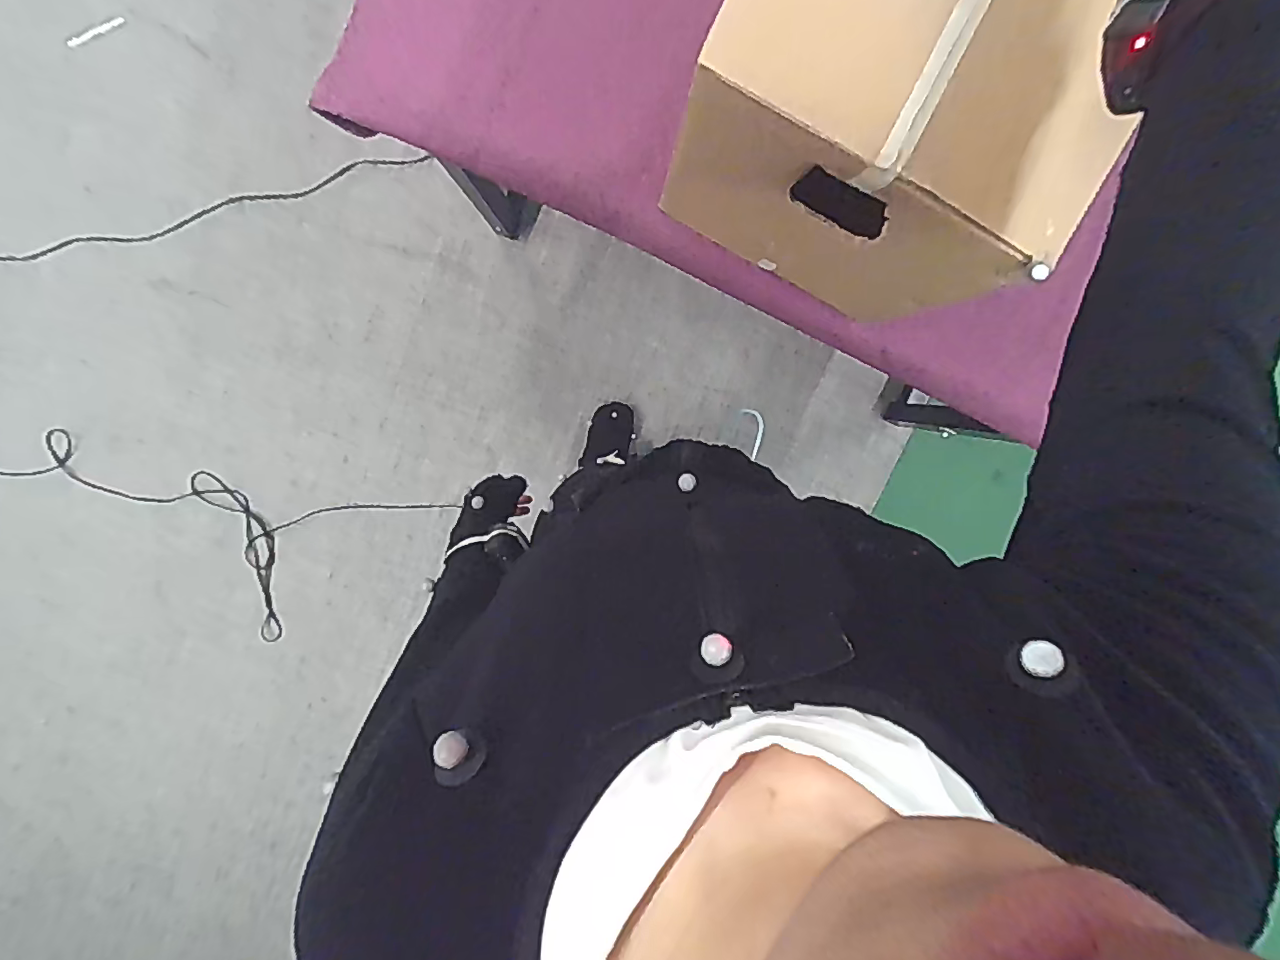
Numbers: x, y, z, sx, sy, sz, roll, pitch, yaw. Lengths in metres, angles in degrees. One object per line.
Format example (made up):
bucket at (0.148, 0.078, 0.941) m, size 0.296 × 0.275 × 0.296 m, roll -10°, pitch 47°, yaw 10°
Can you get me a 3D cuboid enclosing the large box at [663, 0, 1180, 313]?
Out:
large box at (0.256, -0.436, 0.540) m, size 0.320 × 0.320 × 0.408 m, roll 26°, pitch 98°, yaw -6°
